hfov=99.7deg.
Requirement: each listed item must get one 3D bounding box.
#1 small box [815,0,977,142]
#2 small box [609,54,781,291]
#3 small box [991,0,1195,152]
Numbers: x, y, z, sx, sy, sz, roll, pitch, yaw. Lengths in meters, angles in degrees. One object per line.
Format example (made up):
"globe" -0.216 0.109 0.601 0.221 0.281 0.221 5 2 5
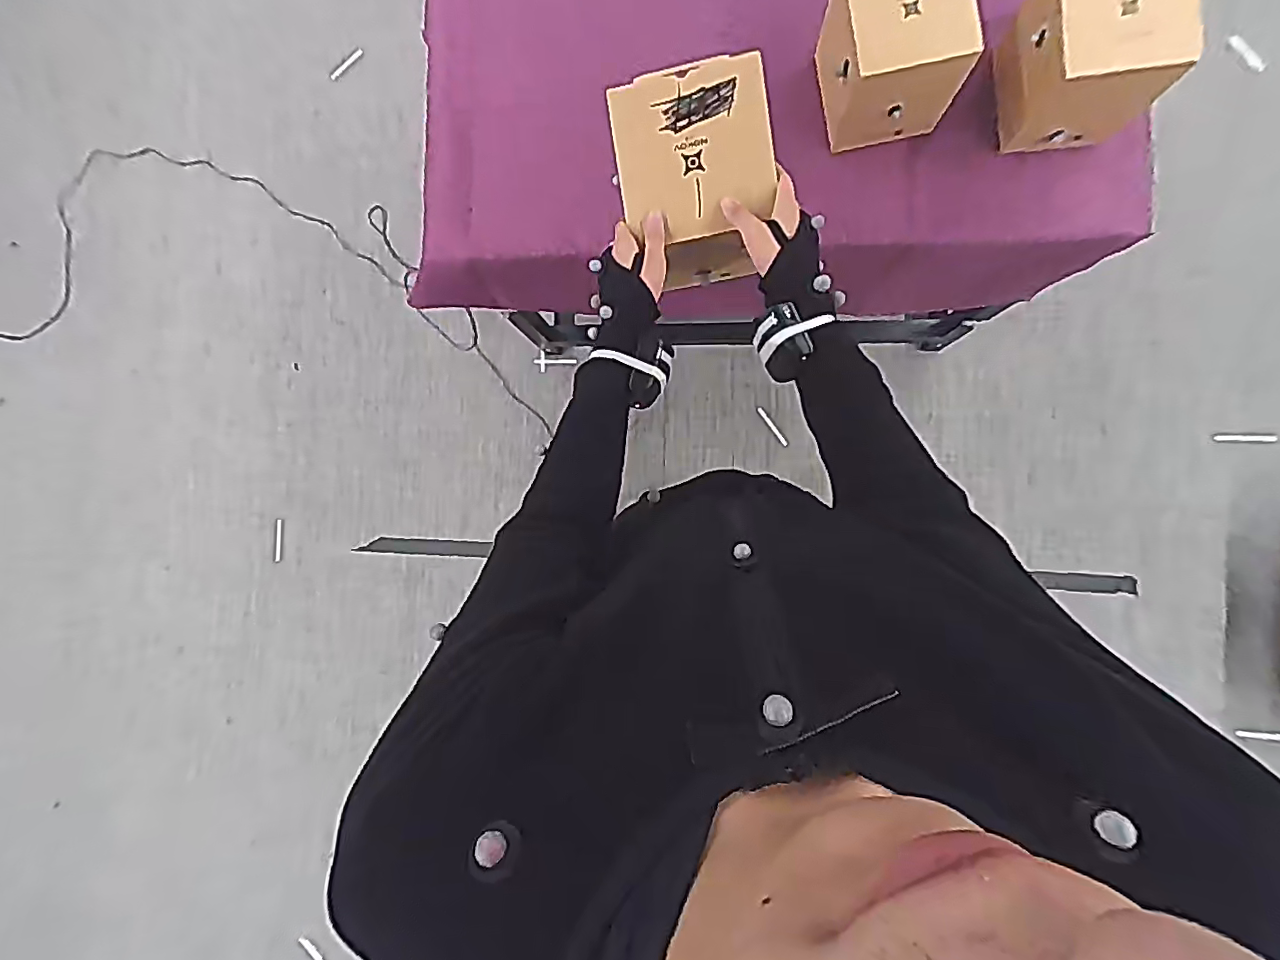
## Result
"small box" 0.376 -0.651 0.824 0.168 0.176 0.179 -9 87 6
"small box" 0.068 -0.351 0.653 0.168 0.176 0.179 -8 92 10
"small box" 0.646 -0.625 0.794 0.168 0.176 0.179 -3 87 7
